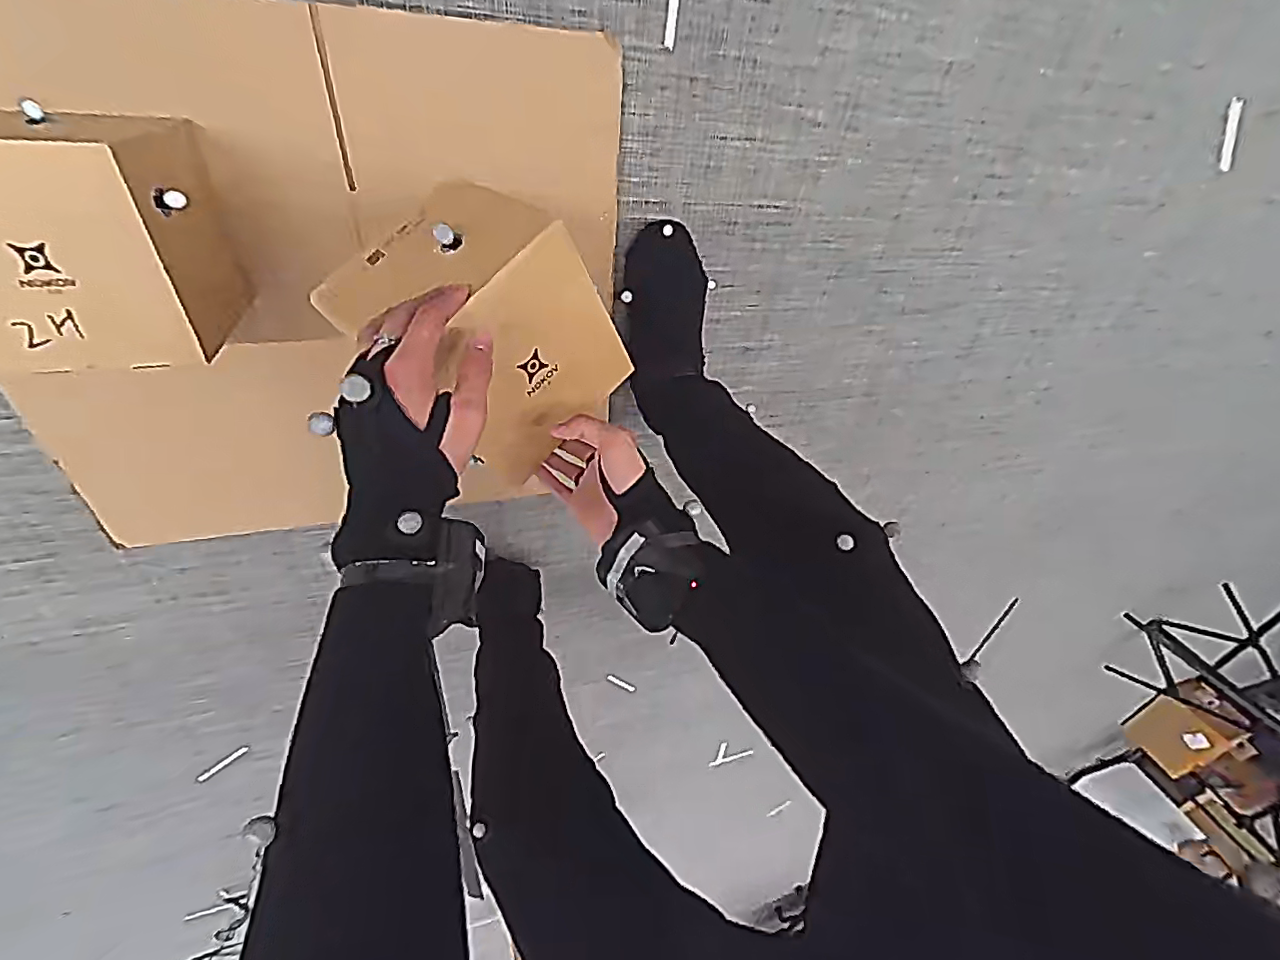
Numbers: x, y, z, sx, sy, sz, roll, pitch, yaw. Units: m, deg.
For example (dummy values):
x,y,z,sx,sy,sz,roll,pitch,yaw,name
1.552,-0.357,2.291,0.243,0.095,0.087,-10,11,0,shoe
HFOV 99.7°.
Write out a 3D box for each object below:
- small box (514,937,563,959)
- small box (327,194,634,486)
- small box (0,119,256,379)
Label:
x,y,z,sx,sy,sz,roll,pitch,yaw,name
-0.361,1.793,1.947,0.168,0.176,0.179,-5,128,-18,small box
-0.139,-0.132,0.493,0.168,0.176,0.179,-46,147,-10,small box
-0.481,-0.210,0.483,0.168,0.176,0.179,-7,129,-15,small box
